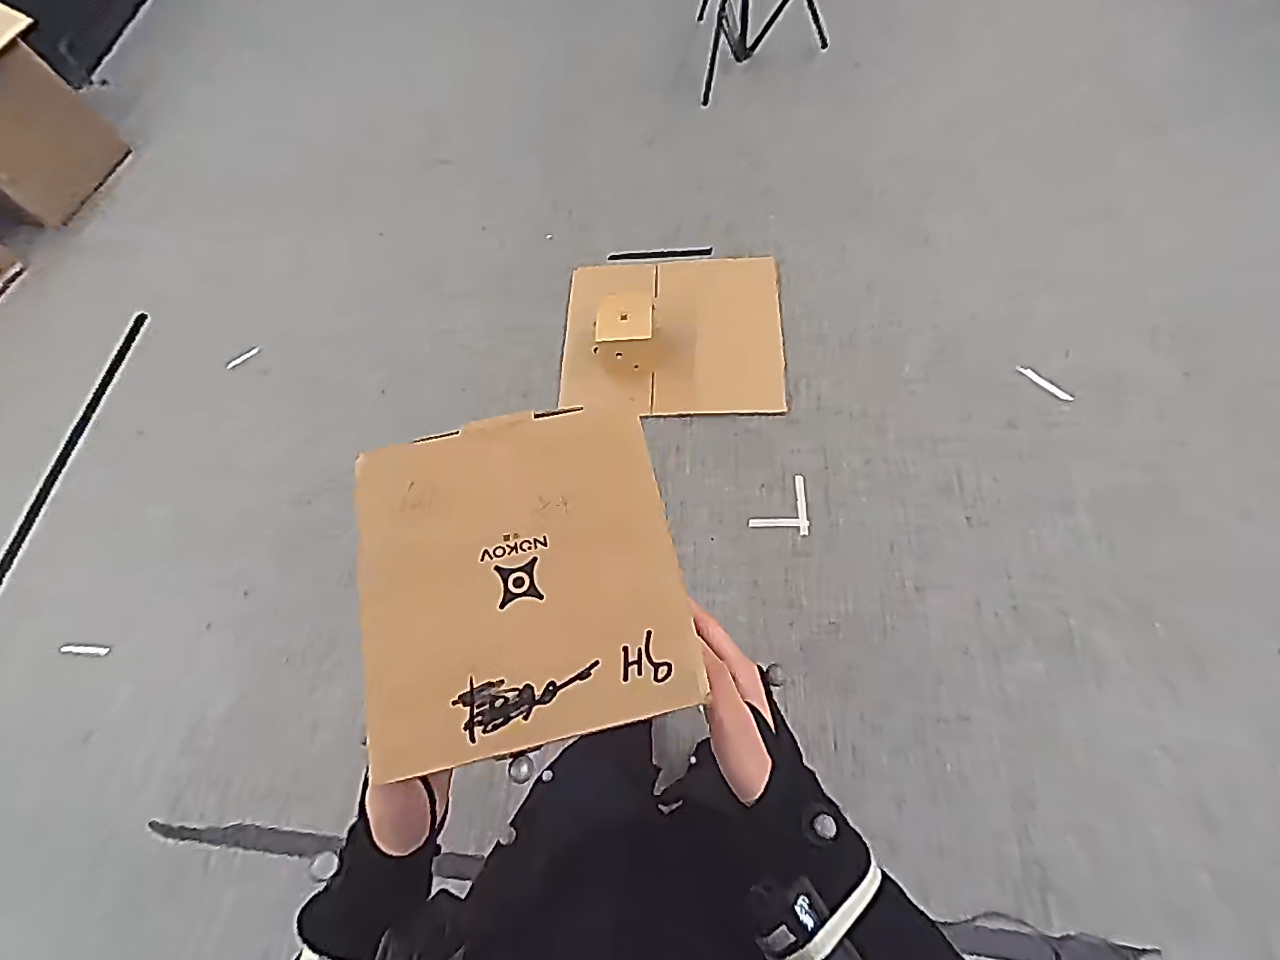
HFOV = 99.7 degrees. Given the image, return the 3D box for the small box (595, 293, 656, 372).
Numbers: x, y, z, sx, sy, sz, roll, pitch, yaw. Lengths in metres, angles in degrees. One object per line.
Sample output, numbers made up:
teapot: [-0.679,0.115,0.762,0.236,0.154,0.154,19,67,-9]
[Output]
small box: [-0.039,-0.445,1.659,0.168,0.176,0.179,-3,66,6]

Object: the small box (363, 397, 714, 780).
small box: [-0.060,0.075,0.356,0.168,0.176,0.179,-13,68,-3]
